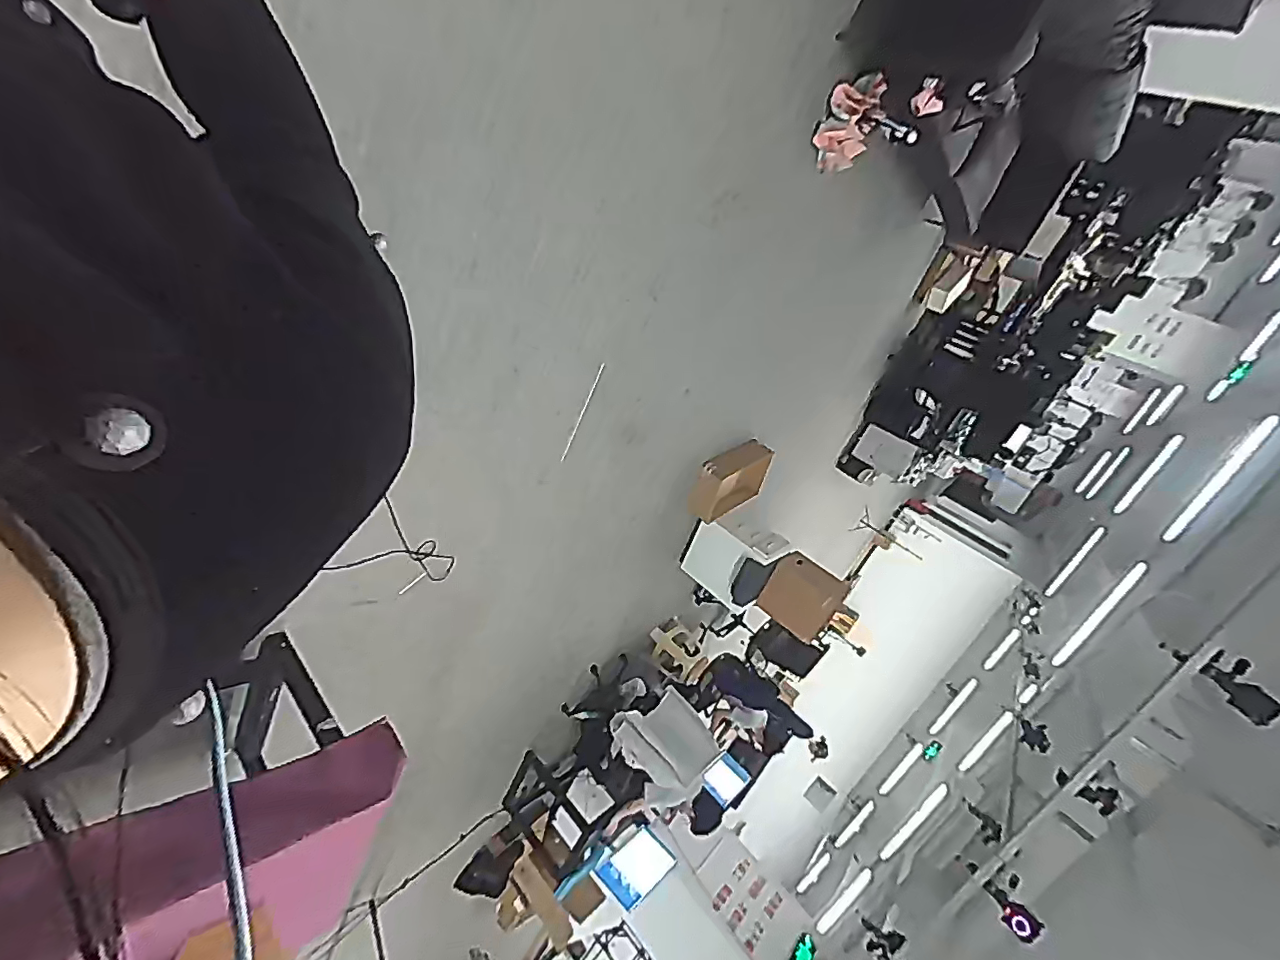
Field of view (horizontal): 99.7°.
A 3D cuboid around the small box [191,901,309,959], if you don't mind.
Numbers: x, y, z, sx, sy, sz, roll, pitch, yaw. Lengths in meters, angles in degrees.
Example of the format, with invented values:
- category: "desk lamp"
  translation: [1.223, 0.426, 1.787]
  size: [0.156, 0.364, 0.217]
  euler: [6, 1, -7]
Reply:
- category: "small box"
  translation: [-0.935, 1.157, 1.278]
  size: [0.168, 0.176, 0.179]
  euler: [-58, 149, 8]
